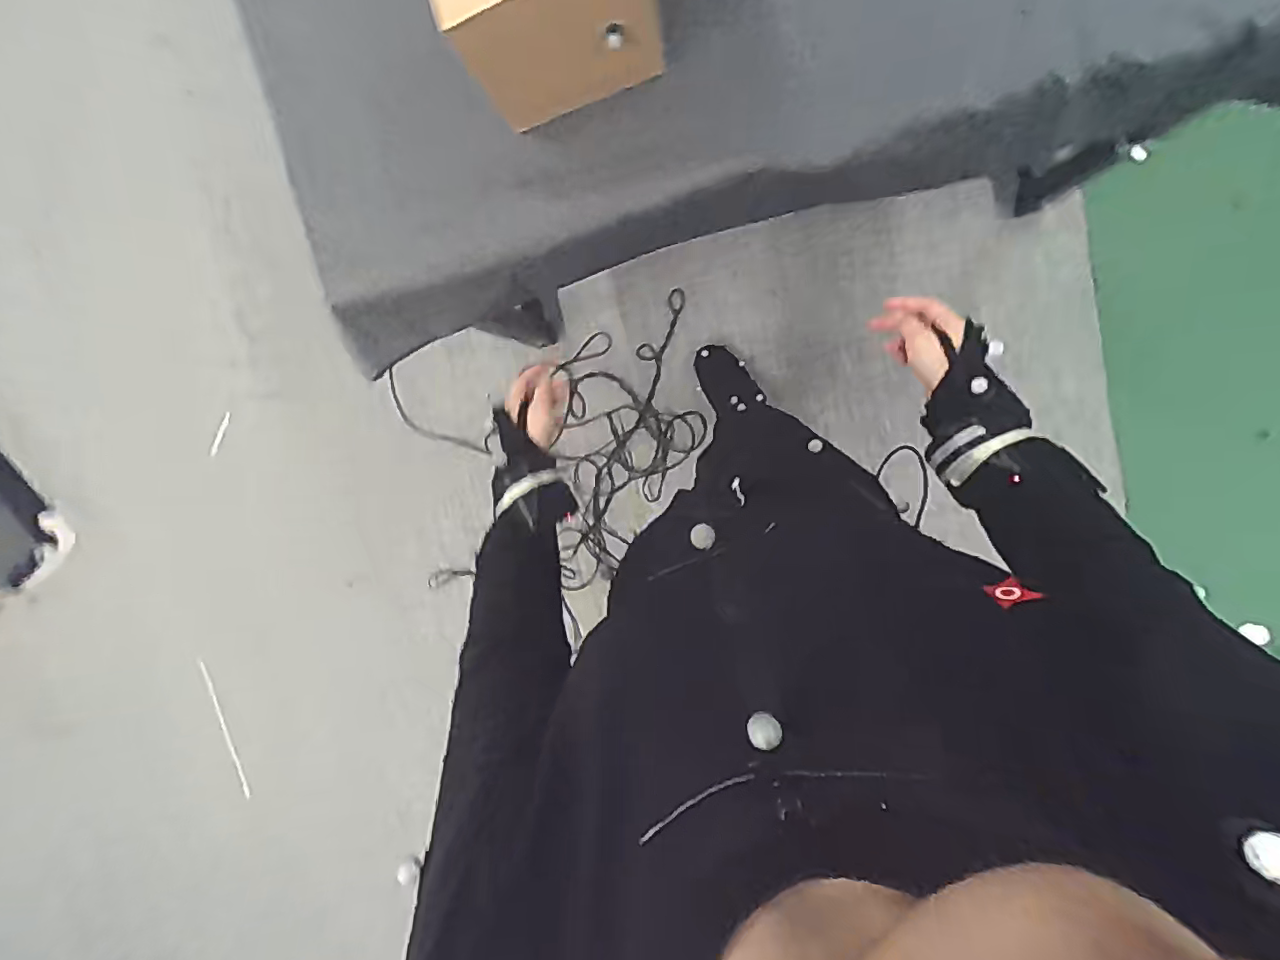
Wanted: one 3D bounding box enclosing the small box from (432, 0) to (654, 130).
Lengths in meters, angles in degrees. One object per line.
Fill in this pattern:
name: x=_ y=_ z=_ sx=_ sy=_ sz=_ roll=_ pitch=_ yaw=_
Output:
small box: x=-0.092 y=-0.473 z=0.499 sx=0.179 sy=0.176 sz=0.168 roll=-17 pitch=93 yaw=11
